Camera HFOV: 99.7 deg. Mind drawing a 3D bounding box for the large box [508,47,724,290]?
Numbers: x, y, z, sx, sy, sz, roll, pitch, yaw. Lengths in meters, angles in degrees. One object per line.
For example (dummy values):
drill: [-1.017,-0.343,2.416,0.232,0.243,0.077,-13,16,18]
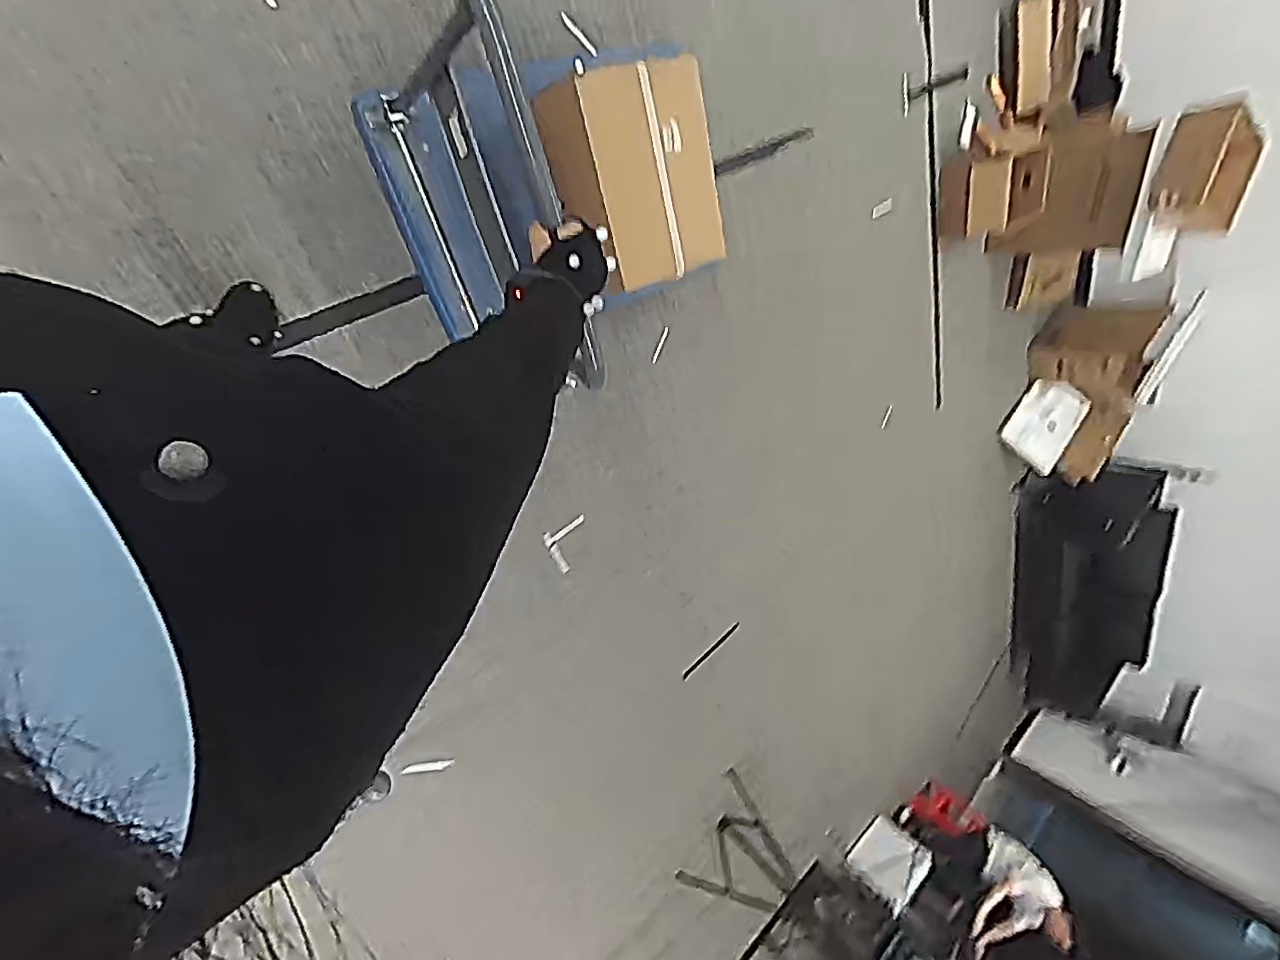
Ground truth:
large box: [-0.052,-0.692,1.254,0.320,0.320,0.408,-30,120,-27]
